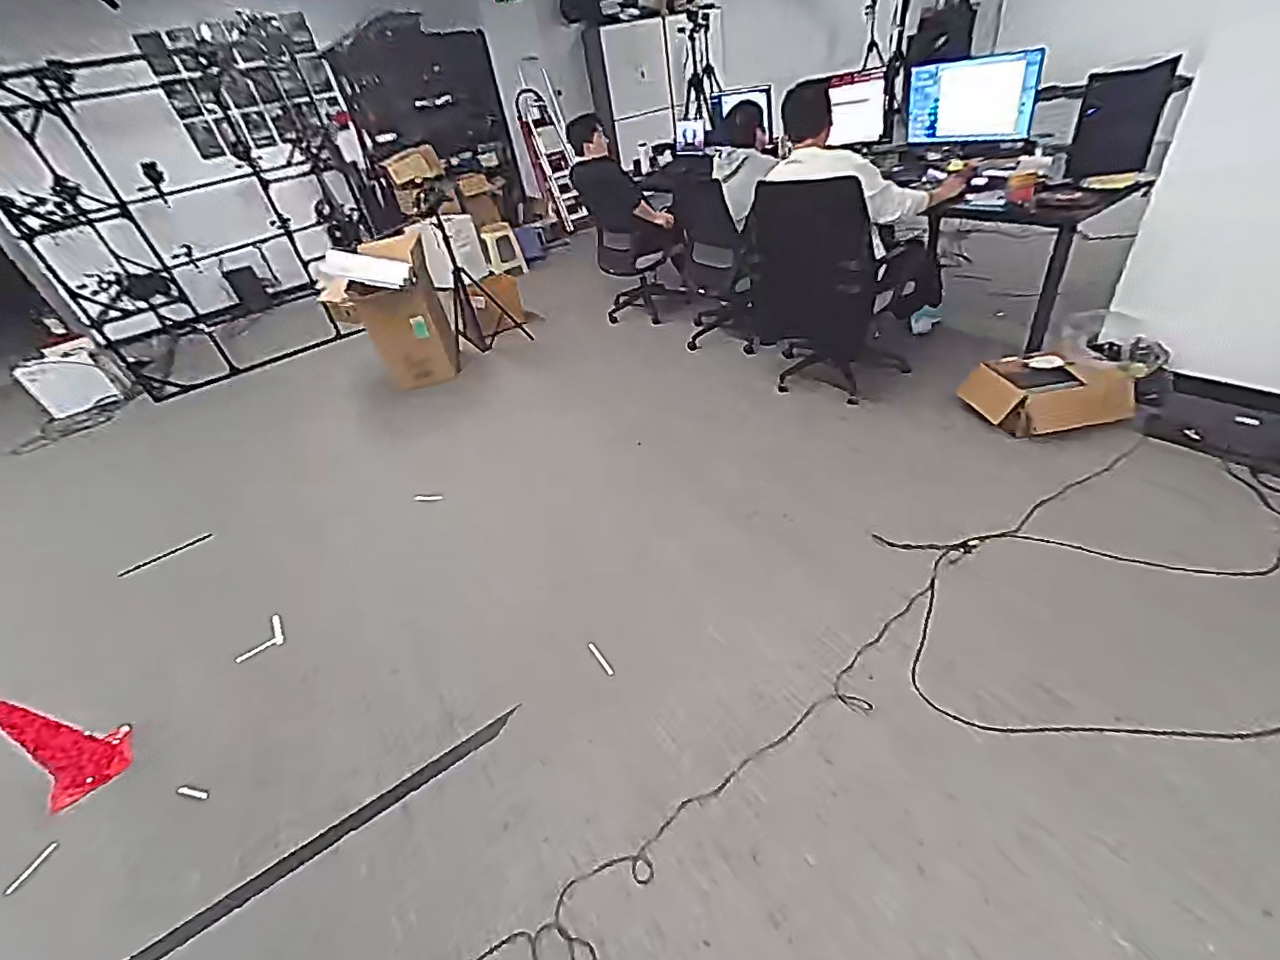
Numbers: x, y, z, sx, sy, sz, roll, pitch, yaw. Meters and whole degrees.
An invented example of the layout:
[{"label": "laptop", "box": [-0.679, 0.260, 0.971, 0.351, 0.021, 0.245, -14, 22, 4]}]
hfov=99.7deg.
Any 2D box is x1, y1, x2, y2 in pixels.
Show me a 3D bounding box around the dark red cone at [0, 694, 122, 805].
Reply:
[{"label": "dark red cone", "box": [-1.723, 0.724, 1.545, 0.202, 0.394, 0.201, -34, 43, -27]}]
